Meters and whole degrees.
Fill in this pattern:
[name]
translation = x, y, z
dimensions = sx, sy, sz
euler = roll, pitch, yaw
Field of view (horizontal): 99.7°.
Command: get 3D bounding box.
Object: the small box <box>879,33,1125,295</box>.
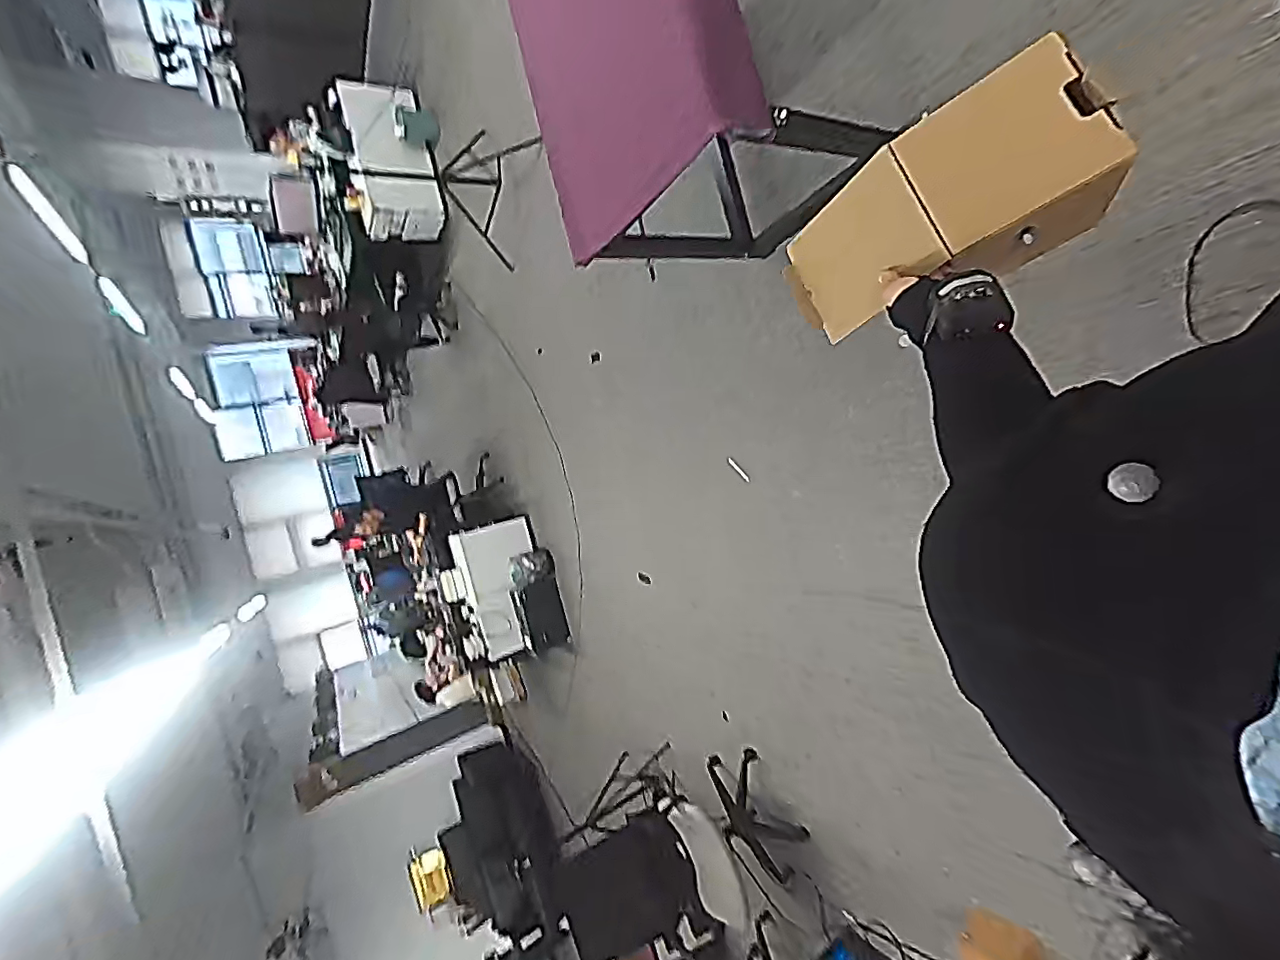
[small box]
translation = 0.415, -0.352, 0.646
dimensions = 0.179, 0.176, 0.168
euler = -28, 76, 27
